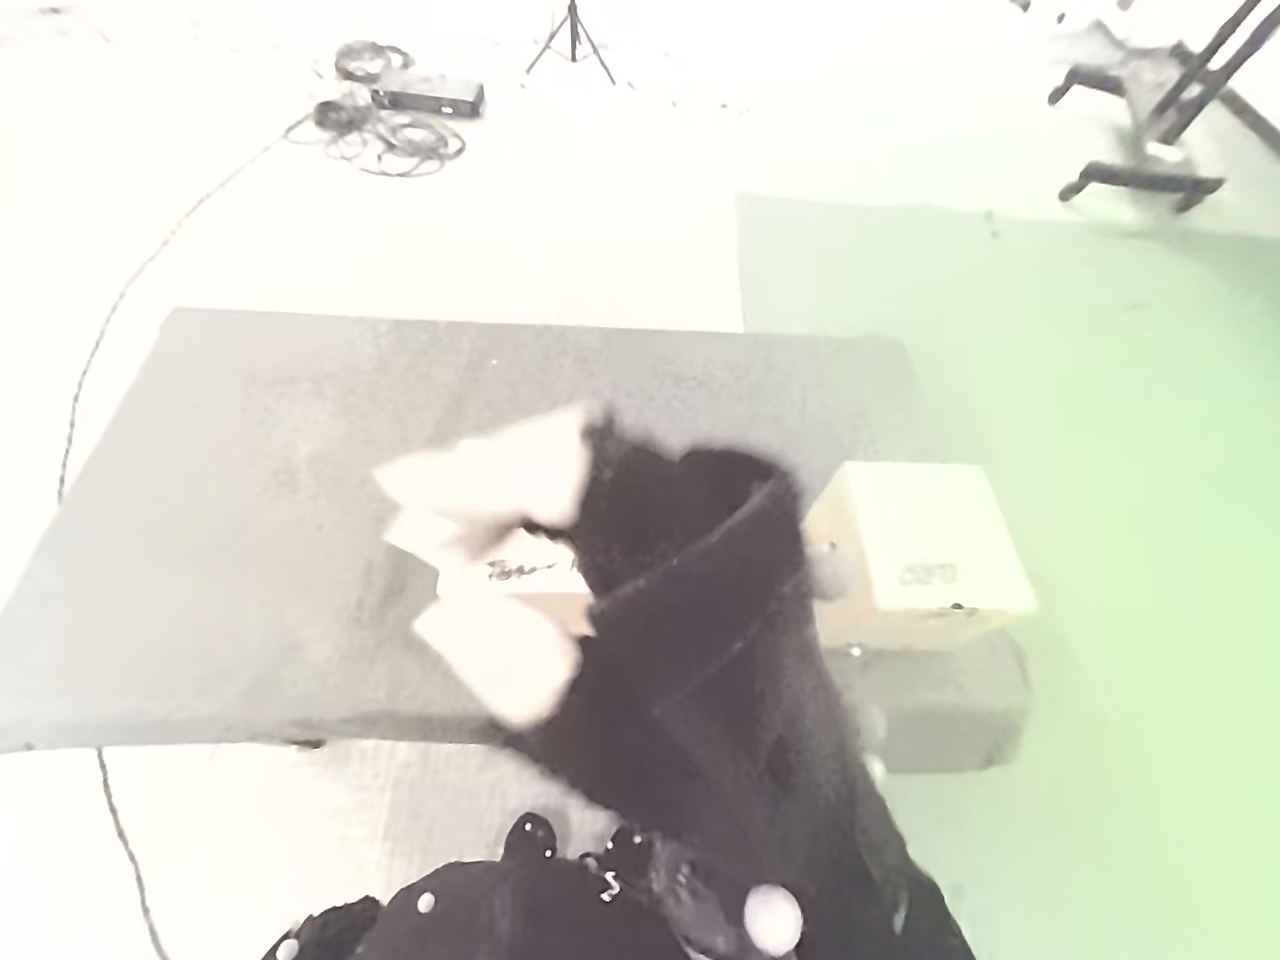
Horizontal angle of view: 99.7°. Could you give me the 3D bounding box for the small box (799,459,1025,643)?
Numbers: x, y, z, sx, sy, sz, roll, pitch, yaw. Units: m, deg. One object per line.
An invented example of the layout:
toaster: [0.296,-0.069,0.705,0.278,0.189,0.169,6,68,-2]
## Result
small box: [0.308,0.093,0.656,0.168,0.176,0.179,2,58,-3]

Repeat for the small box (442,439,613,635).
small box: [-0.118,0.071,0.634,0.168,0.176,0.179,1,59,-4]
